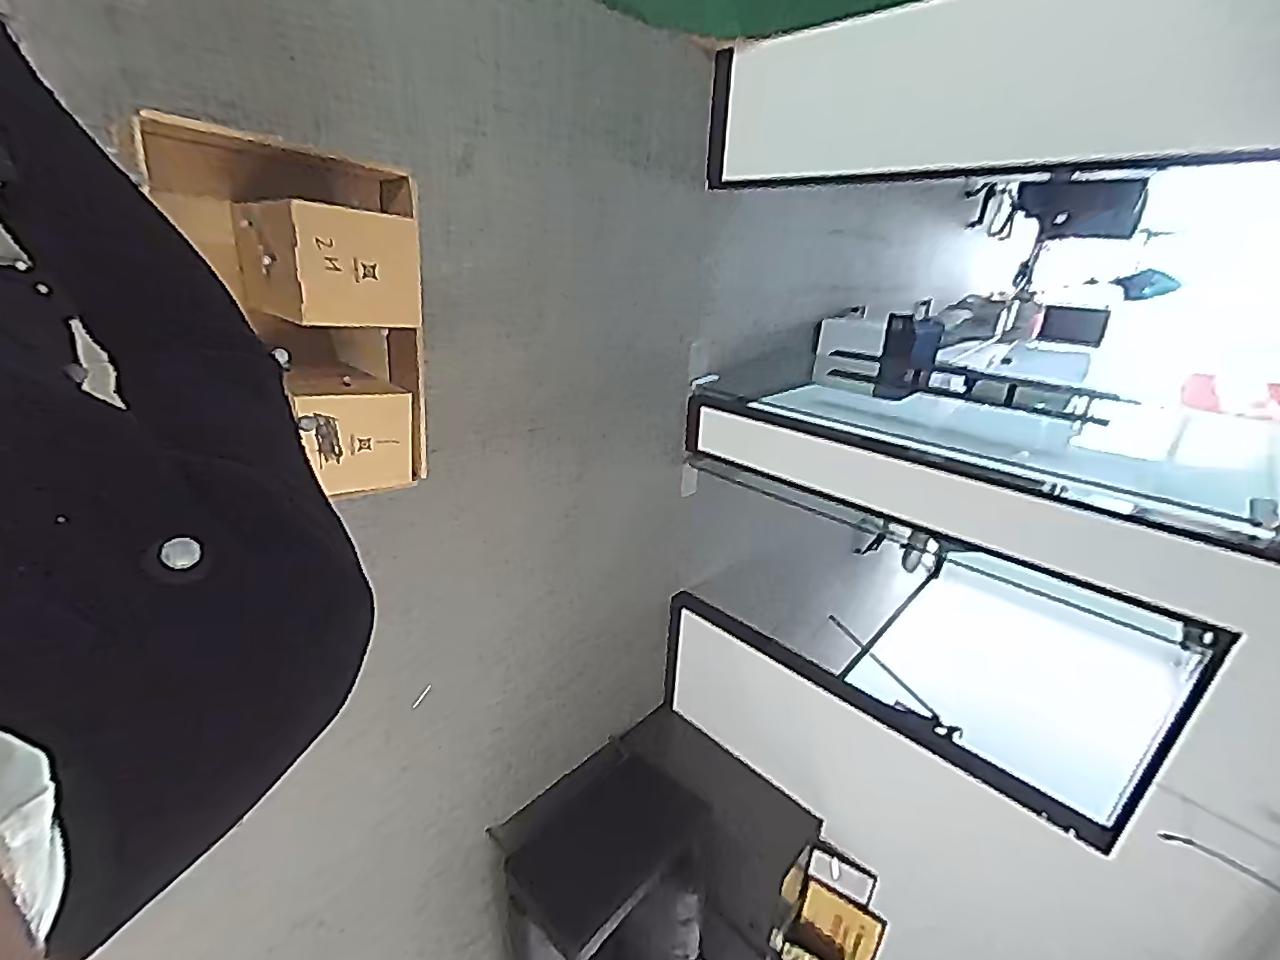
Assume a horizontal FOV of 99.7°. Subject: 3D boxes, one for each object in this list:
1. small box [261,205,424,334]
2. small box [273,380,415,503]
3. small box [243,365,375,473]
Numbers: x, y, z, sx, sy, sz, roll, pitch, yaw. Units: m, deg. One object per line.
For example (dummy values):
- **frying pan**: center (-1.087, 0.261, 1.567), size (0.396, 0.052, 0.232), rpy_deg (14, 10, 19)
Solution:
- **small box**: center (-0.463, -0.327, 0.849), size (0.179, 0.176, 0.168), rpy_deg (-14, 117, -45)
- **small box**: center (-0.506, -0.074, 0.924), size (0.179, 0.176, 0.168), rpy_deg (-11, 116, -46)
- **small box**: center (-0.624, -0.124, 1.027), size (0.179, 0.176, 0.168), rpy_deg (-12, 116, -44)
